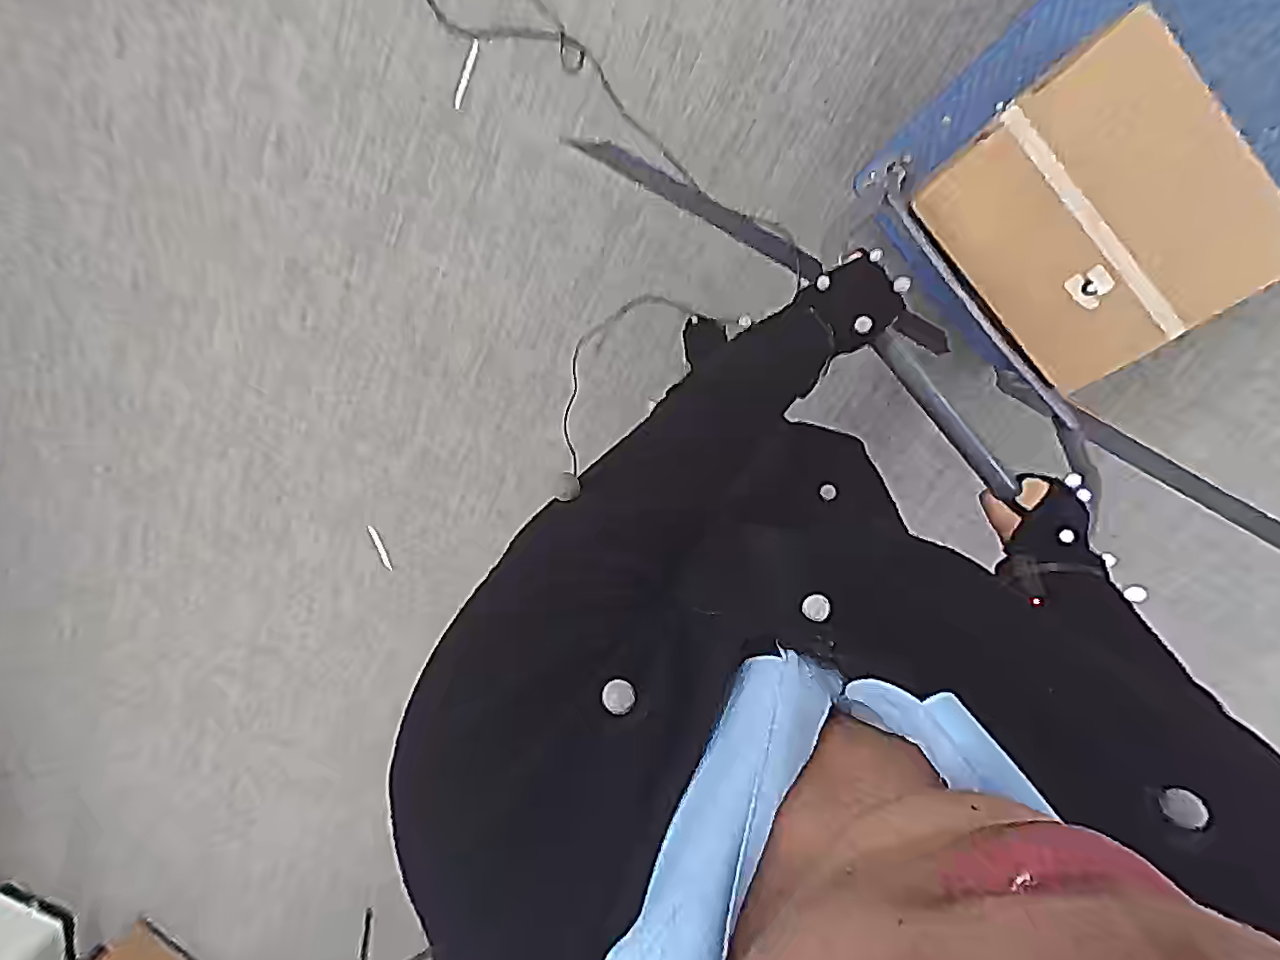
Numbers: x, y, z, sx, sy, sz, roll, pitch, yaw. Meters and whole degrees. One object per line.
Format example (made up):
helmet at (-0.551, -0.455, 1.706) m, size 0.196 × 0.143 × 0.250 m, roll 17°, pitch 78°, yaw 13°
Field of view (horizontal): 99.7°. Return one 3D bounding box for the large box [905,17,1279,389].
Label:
large box at (0.707, -0.437, 0.902) m, size 0.408 × 0.320 × 0.320 m, roll 47°, pitch 127°, yaw -7°
